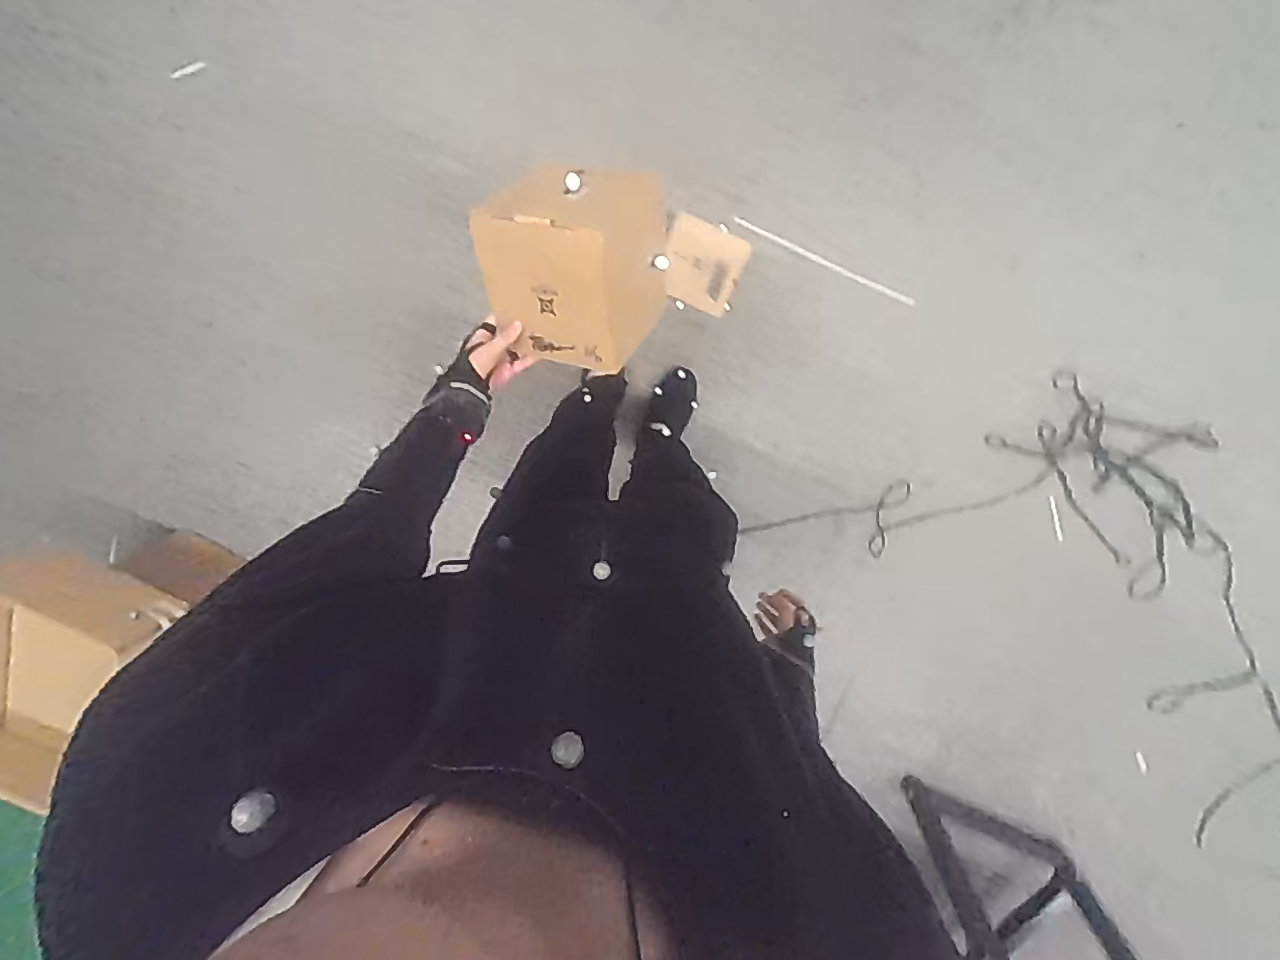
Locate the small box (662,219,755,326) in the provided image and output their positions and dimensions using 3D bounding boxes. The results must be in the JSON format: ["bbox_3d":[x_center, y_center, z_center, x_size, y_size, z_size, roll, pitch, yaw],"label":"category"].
[{"bbox_3d":[0.140,-0.466,1.229,0.179,0.176,0.168,25,108,-2],"label":"small box"}]

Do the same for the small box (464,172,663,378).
[{"bbox_3d":[-0.078,-0.255,0.660,0.168,0.176,0.179,16,140,19],"label":"small box"}]
